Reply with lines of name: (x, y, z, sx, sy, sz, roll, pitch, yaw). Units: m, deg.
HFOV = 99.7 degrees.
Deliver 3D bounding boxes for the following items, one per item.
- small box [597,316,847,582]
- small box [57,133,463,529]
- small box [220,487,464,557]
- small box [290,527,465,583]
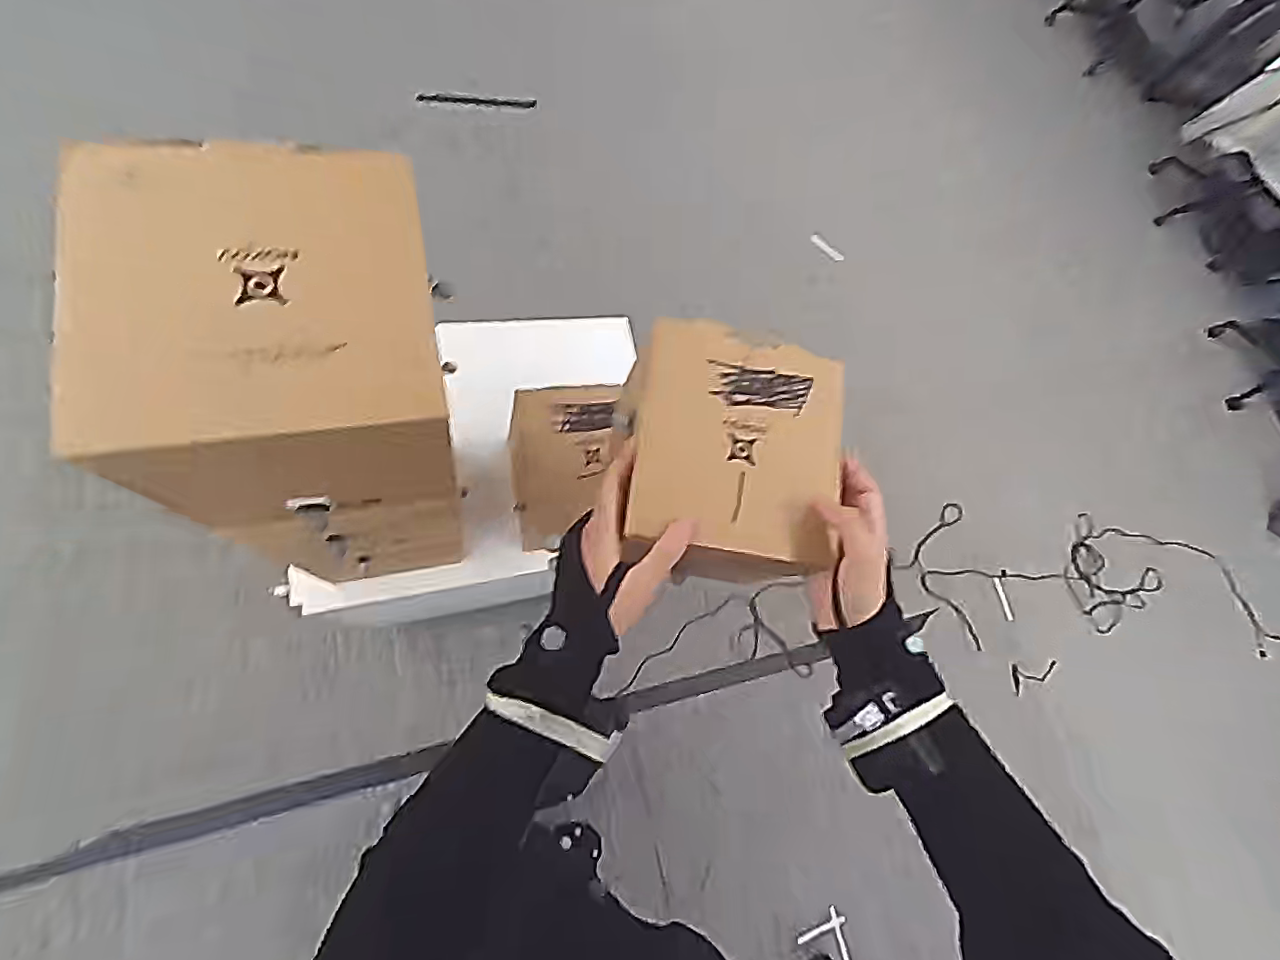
small box: (0.063, -0.012, 0.486, 0.168, 0.176, 0.179, 12, 74, -10)
small box: (-0.213, -0.080, 0.350, 0.168, 0.176, 0.179, -9, 77, -18)
small box: (-0.259, -0.031, 0.498, 0.168, 0.176, 0.179, -9, 76, -19)
small box: (-0.305, 0.014, 0.647, 0.168, 0.176, 0.179, -8, 75, -18)
